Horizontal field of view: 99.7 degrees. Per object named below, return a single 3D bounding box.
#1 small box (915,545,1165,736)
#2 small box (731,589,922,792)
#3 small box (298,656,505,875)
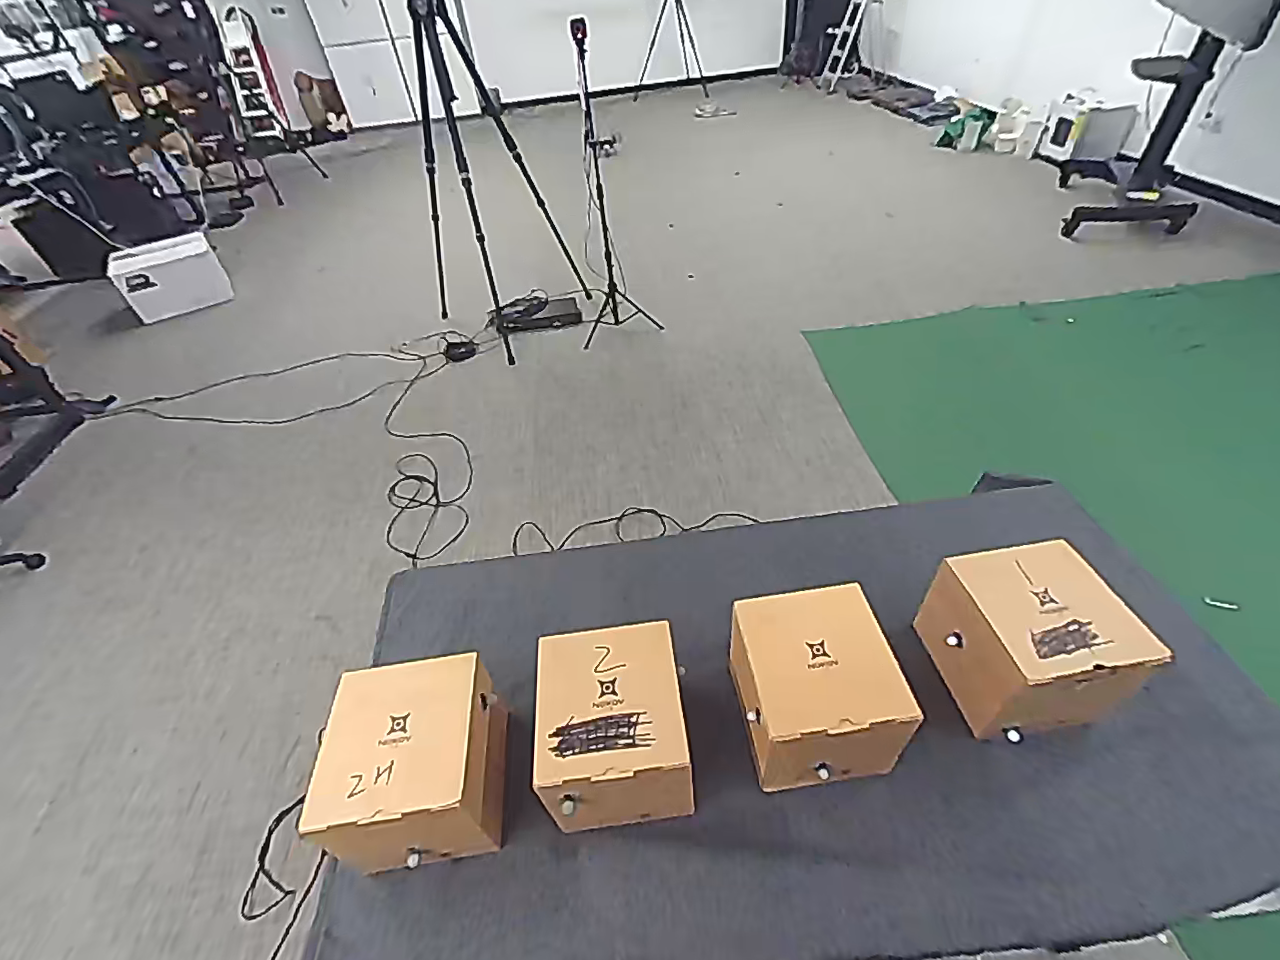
[{"bbox_3d":[0.493,0.213,0.703,0.168,0.176,0.179,-8,43,-2],"label":"small box"},{"bbox_3d":[0.216,0.266,0.686,0.168,0.176,0.179,-8,44,-2],"label":"small box"},{"bbox_3d":[-0.265,0.342,0.653,0.168,0.176,0.179,-8,42,-3],"label":"small box"}]
